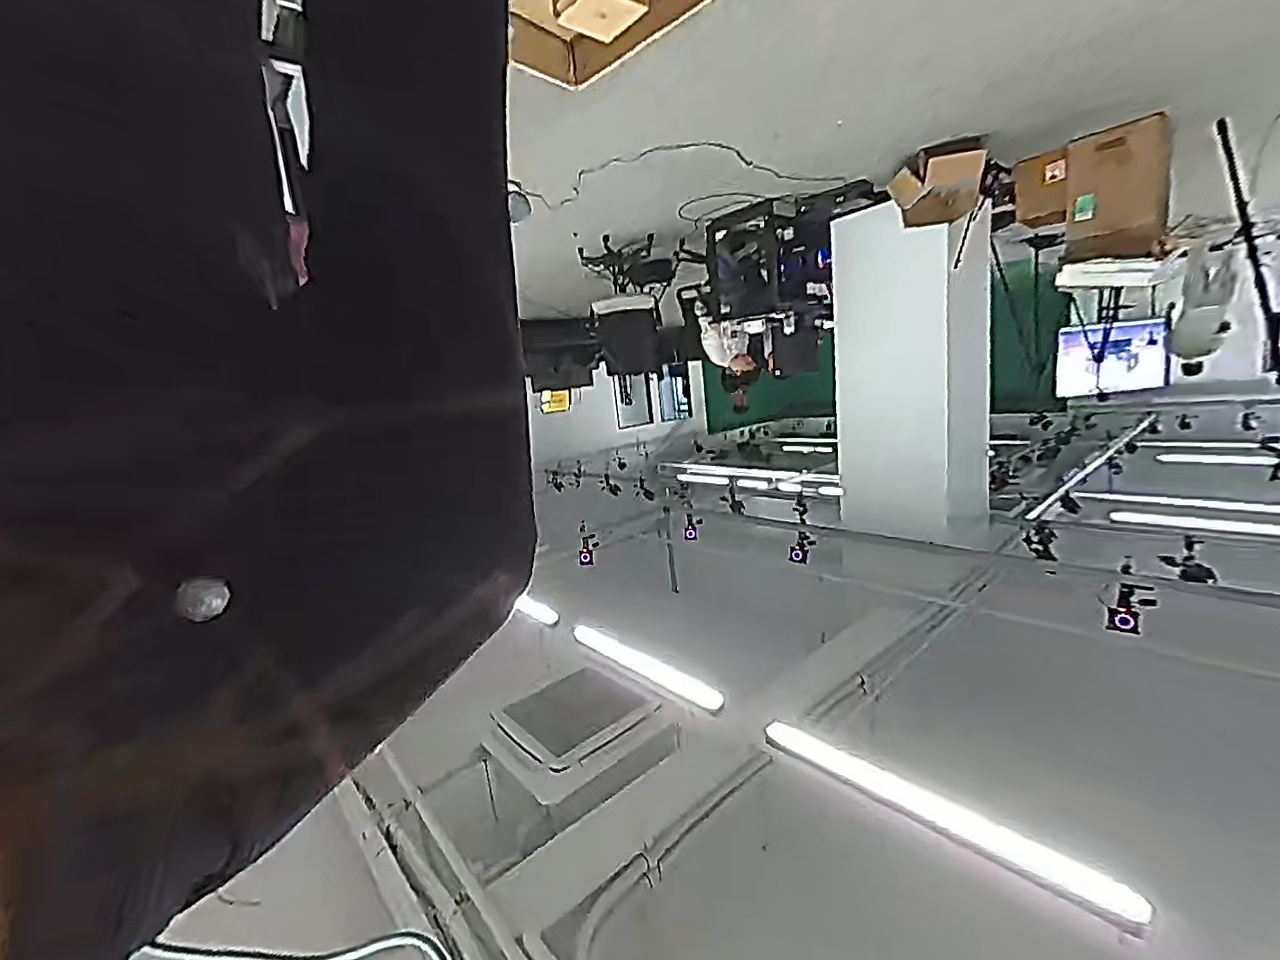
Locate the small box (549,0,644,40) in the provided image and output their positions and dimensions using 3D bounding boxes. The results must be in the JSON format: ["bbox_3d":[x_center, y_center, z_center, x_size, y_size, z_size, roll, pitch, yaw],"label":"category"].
[{"bbox_3d":[-0.114,-1.219,1.298,0.179,0.176,0.168,-16,-164,-40],"label":"small box"}]
